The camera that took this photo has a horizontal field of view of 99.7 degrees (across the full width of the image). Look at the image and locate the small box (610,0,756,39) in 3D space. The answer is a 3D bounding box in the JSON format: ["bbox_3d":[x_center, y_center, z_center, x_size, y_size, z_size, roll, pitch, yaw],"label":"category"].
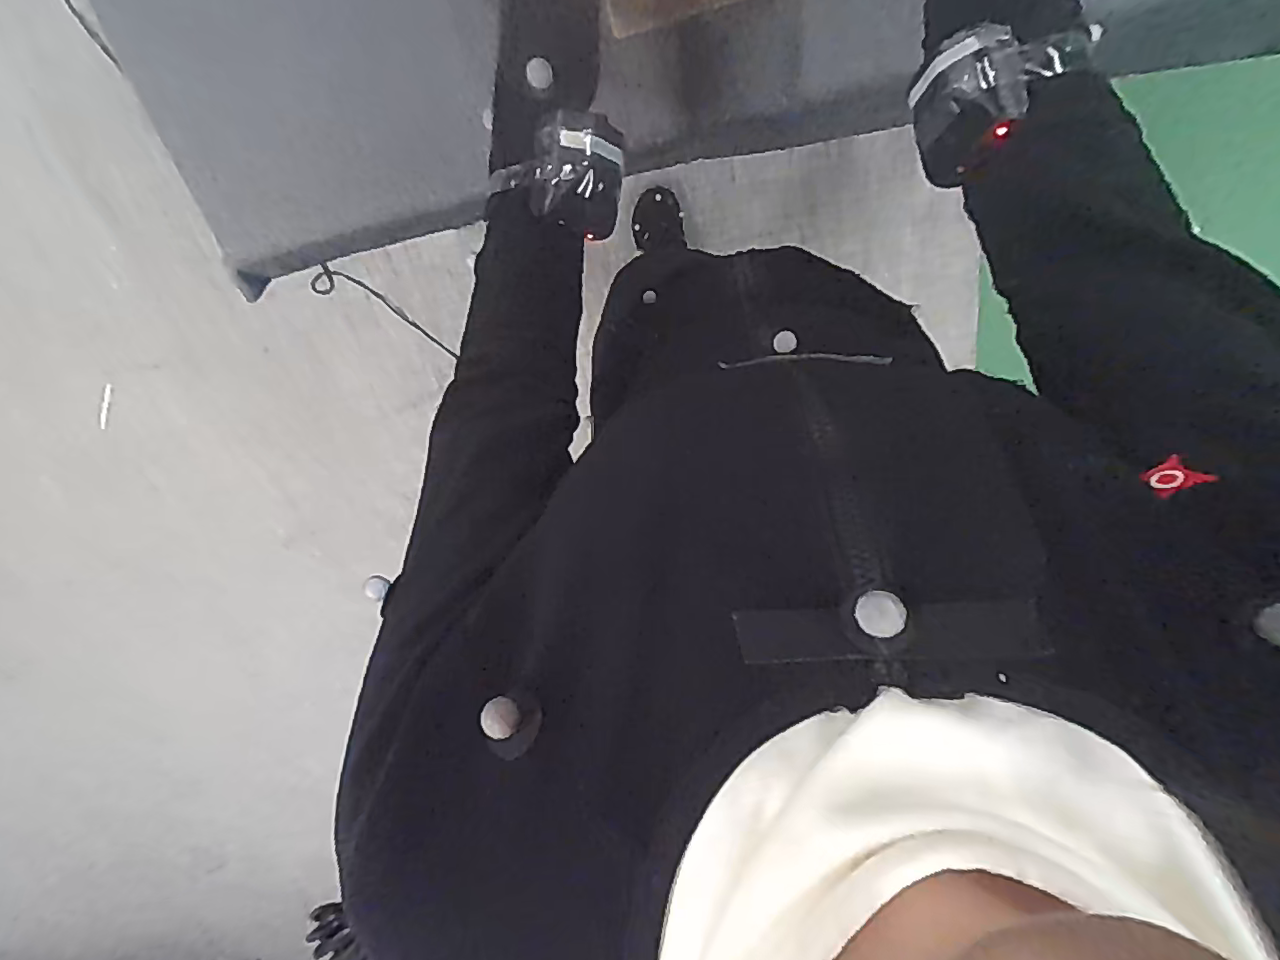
[{"bbox_3d":[0.045,-0.467,0.394,0.179,0.176,0.168,-13,113,8],"label":"small box"}]
